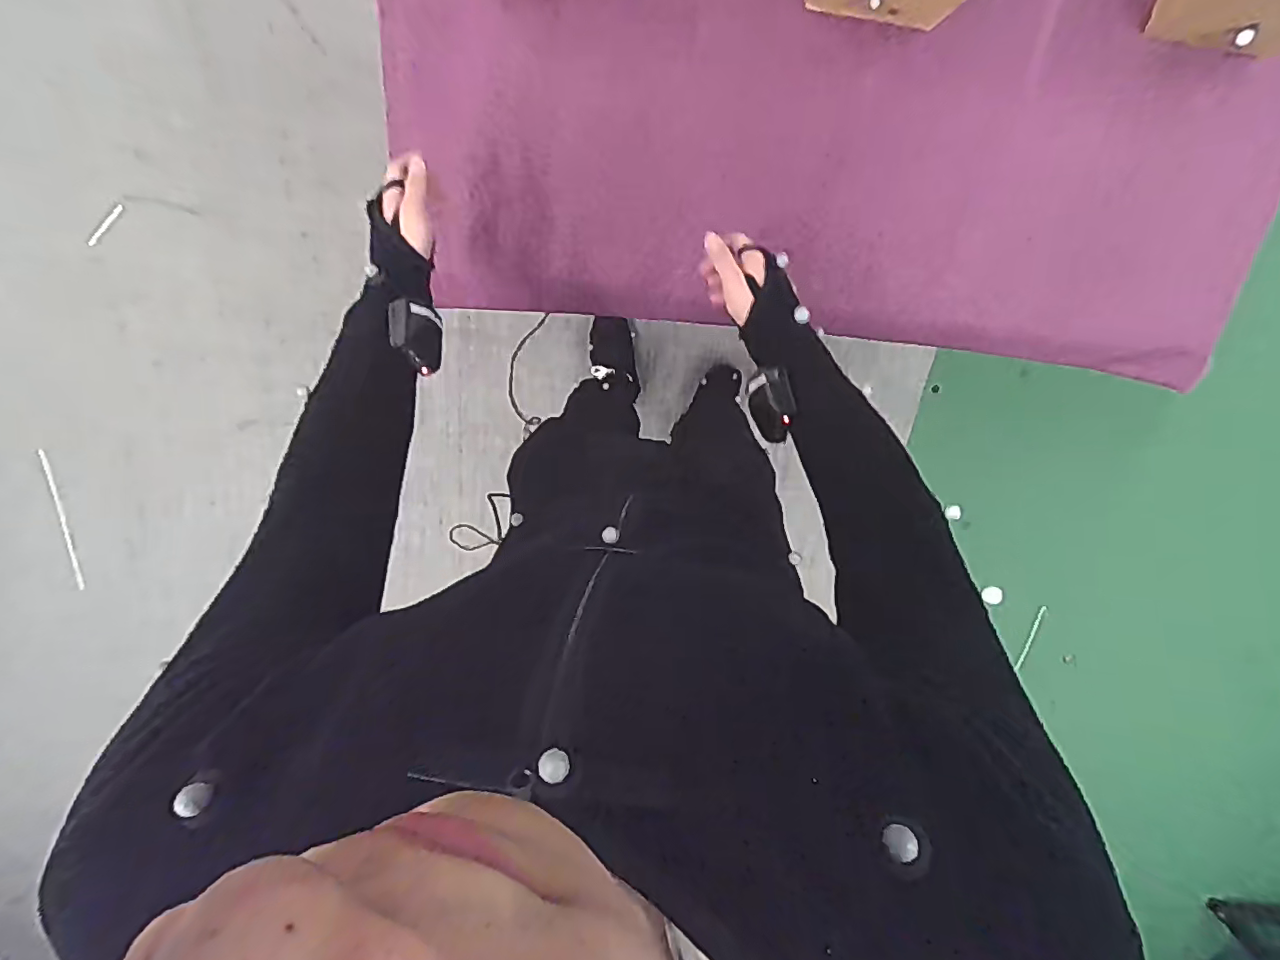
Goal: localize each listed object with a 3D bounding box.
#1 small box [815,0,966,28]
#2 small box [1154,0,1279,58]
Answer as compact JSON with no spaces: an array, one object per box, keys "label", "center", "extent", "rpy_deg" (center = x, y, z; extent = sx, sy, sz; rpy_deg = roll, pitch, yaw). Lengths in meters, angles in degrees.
[{"label":"small box","center":[0.293,-0.615,0.555],"extent":[0.168,0.176,0.179],"rpy_deg":[5,112,-5]},{"label":"small box","center":[0.722,-0.595,0.575],"extent":[0.168,0.176,0.179],"rpy_deg":[7,112,-3]}]
